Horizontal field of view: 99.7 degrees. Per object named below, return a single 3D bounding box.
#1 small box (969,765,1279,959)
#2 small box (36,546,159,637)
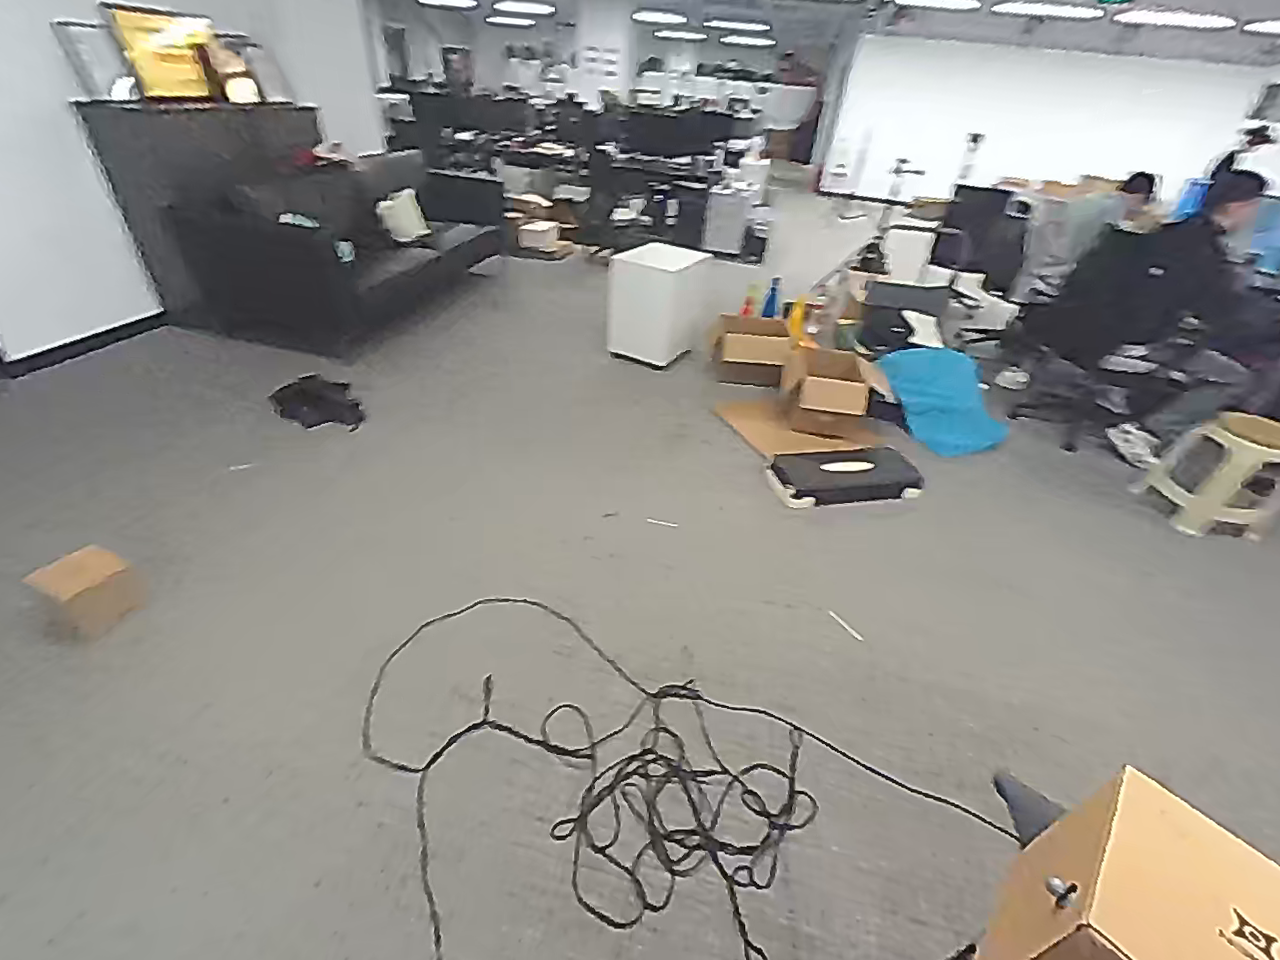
[{"bbox_3d":[0.370,0.359,0.387,0.179,0.176,0.168,-20,44,-41],"label":"small box"},{"bbox_3d":[-1.557,0.326,1.564,0.179,0.176,0.168,17,35,17],"label":"small box"}]
